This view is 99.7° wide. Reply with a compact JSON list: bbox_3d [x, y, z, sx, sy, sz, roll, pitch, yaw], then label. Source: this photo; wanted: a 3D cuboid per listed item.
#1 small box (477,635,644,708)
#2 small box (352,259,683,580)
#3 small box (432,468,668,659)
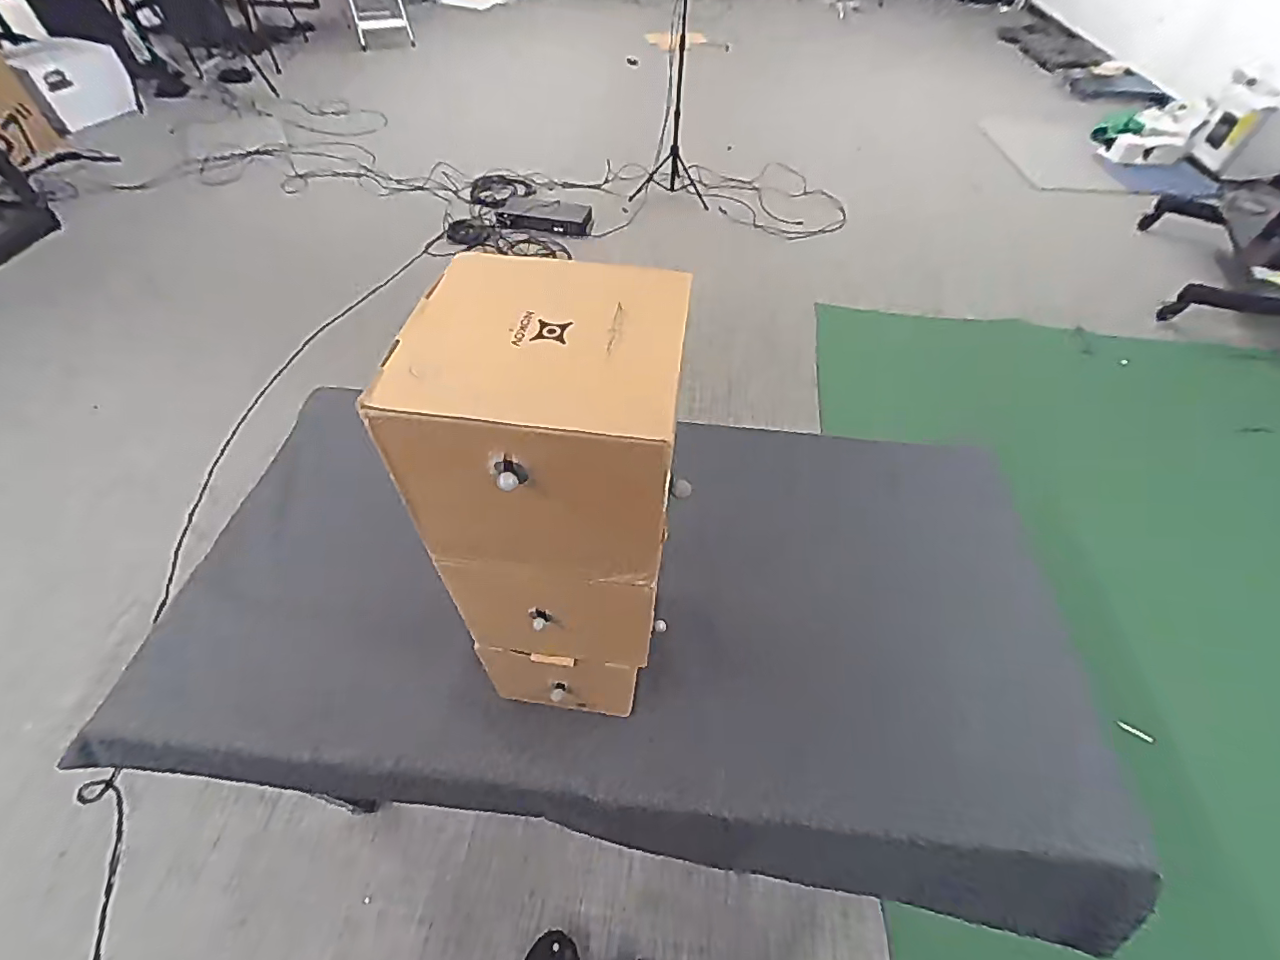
[{"bbox_3d":[-0.076,0.162,0.660,0.168,0.176,0.179,6,52,4],"label":"small box"},{"bbox_3d":[-0.066,-0.040,0.403,0.179,0.176,0.168,6,52,3],"label":"small box"},{"bbox_3d":[-0.069,0.062,0.529,0.179,0.176,0.168,5,51,4],"label":"small box"}]
